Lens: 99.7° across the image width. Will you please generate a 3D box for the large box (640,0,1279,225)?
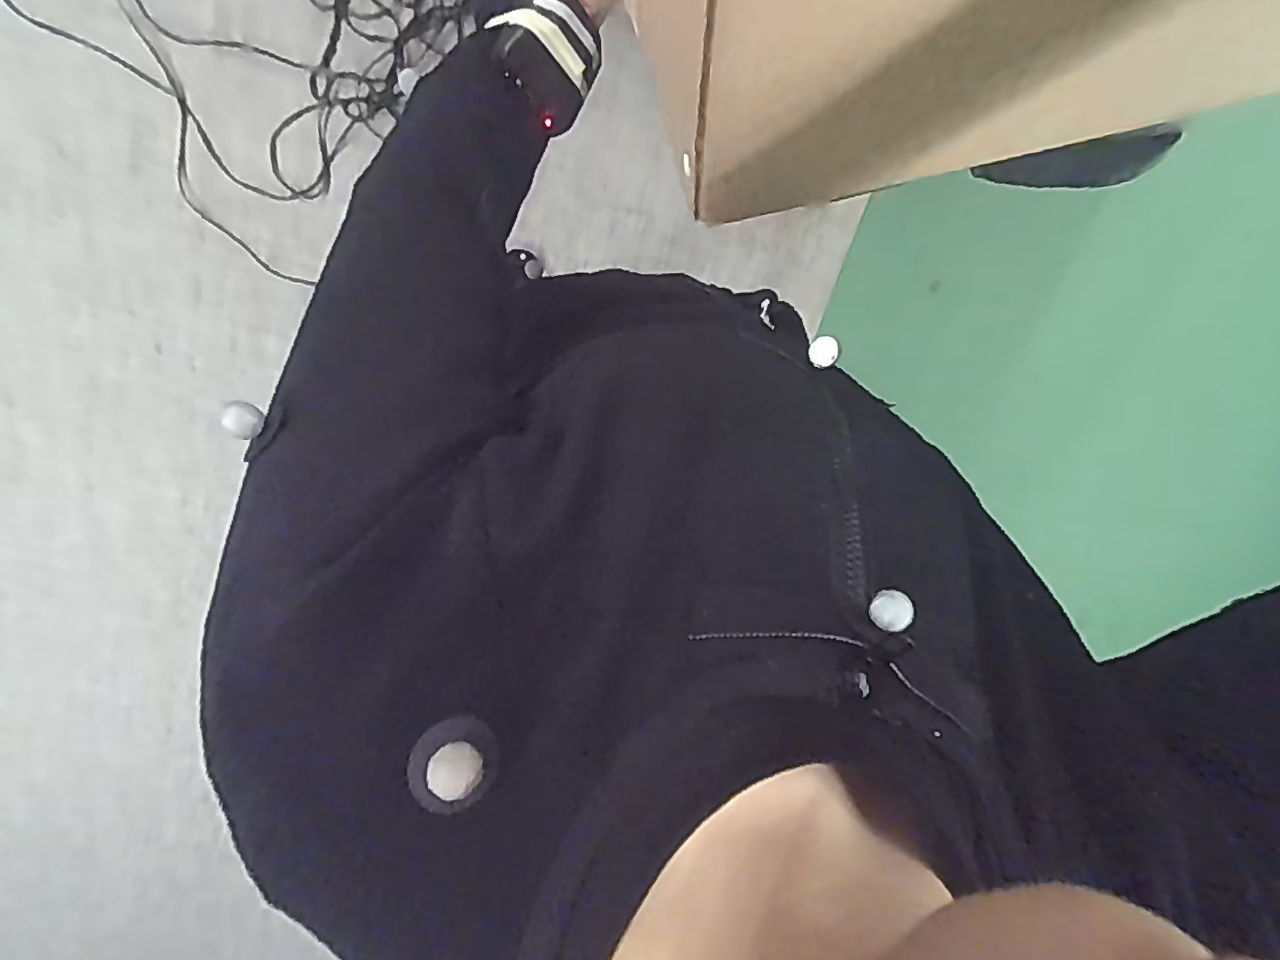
[{"bbox_3d":[0.191,-0.379,0.226,0.408,0.320,0.320,-15,78,1],"label":"large box"}]
